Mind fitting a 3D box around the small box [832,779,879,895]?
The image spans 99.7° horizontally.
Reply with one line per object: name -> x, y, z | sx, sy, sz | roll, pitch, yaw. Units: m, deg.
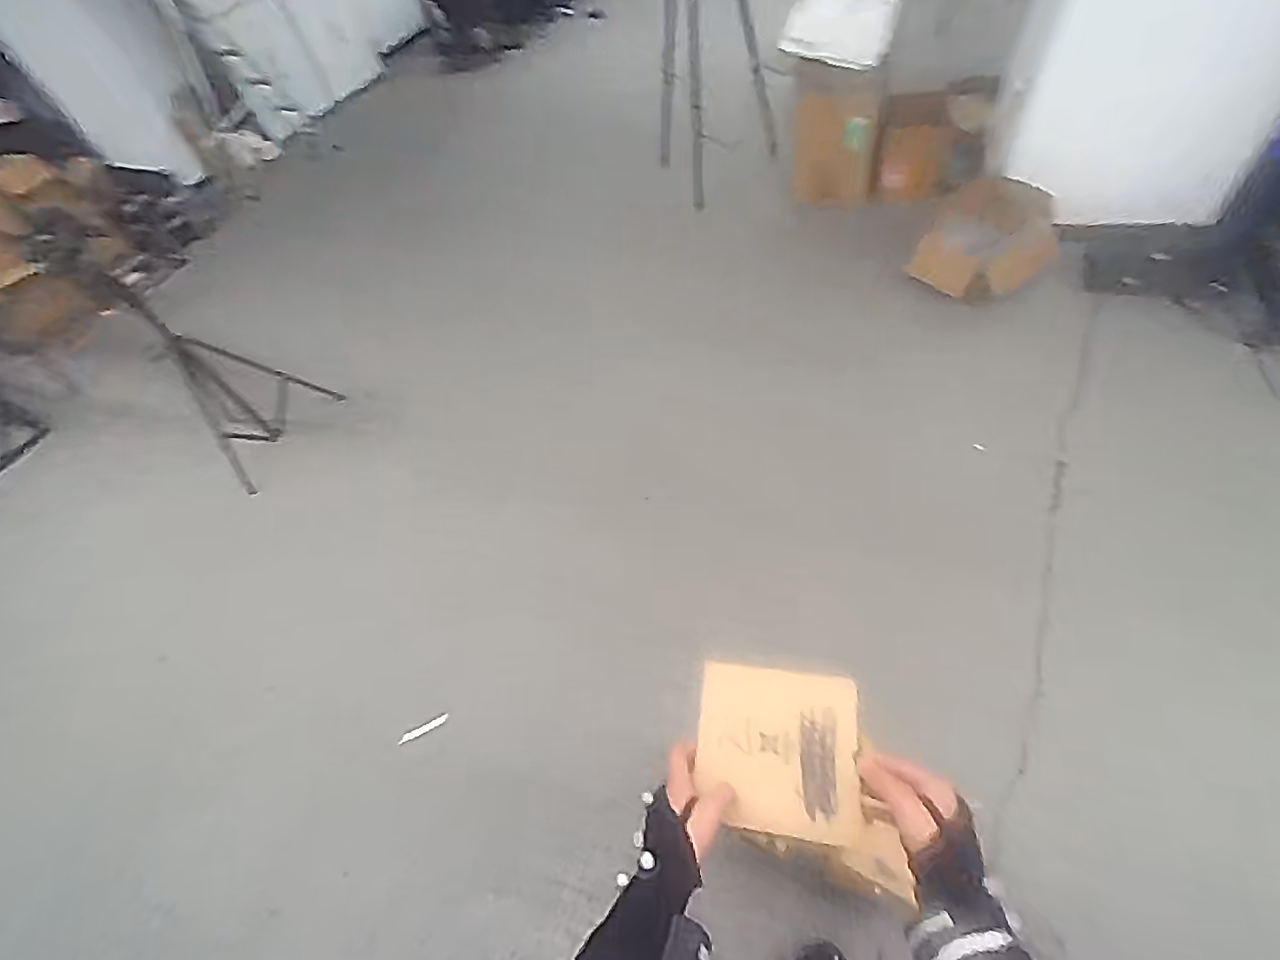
small box -> 0.493, 0.734, 1.087 | 0.179, 0.176, 0.168 | 12, 57, 22

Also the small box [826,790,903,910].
small box -> 0.521, 0.830, 1.214 | 0.168, 0.176, 0.179 | 11, 57, 20

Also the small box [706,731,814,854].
small box -> 0.261, 0.680, 1.174 | 0.179, 0.176, 0.168 | 19, 59, 25

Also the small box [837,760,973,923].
small box -> 0.460, 0.637, 0.958 | 0.168, 0.176, 0.179 | 19, 58, 25
